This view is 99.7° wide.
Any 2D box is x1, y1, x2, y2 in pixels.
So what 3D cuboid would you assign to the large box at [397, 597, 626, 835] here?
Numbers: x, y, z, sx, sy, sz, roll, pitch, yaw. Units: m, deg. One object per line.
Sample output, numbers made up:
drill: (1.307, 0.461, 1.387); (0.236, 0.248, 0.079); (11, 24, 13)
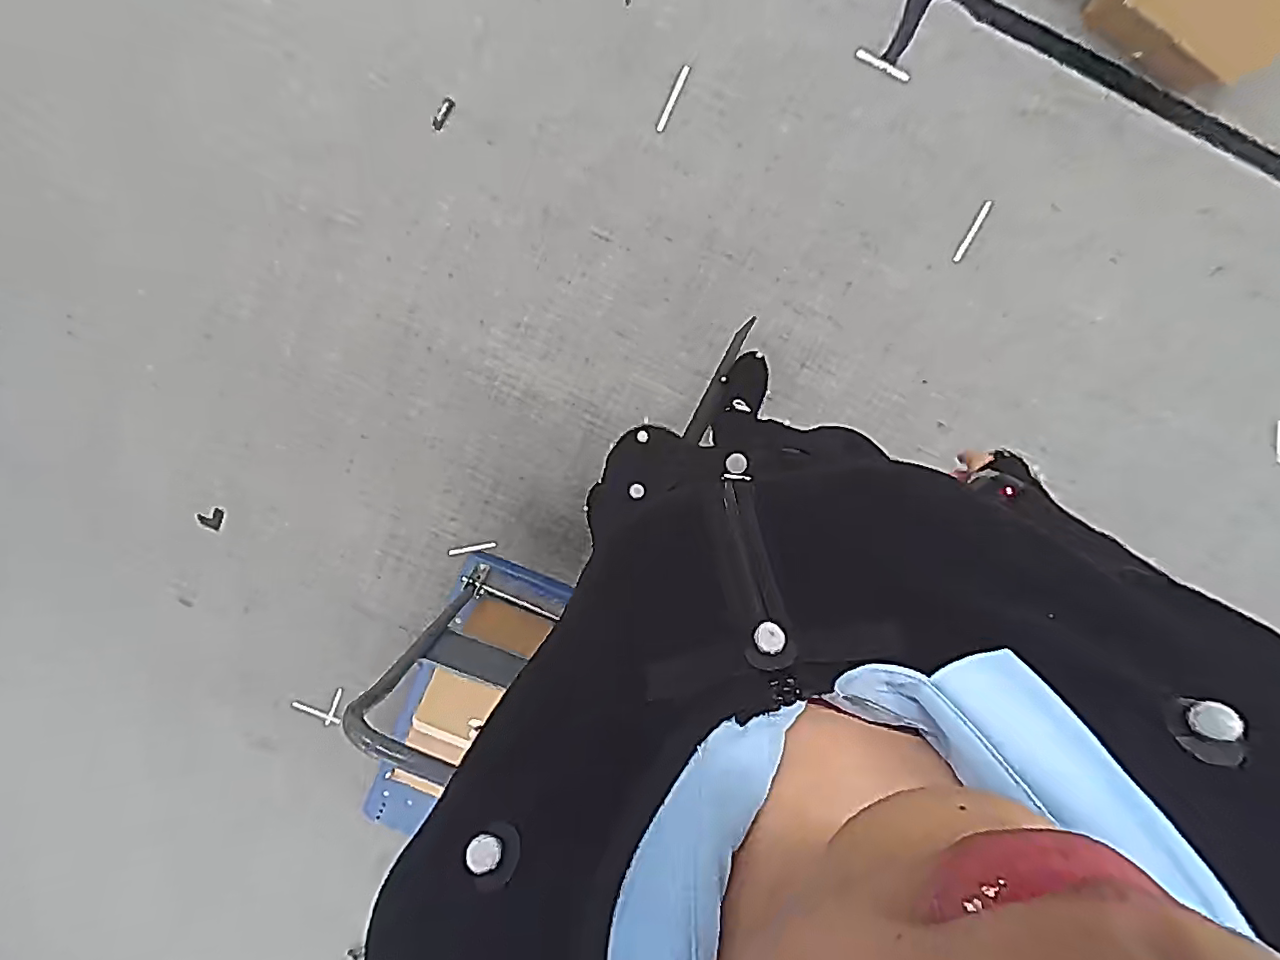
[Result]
large box: (-0.280, 0.541, 1.294); (0.408, 0.320, 0.320); (24, 101, -3)
